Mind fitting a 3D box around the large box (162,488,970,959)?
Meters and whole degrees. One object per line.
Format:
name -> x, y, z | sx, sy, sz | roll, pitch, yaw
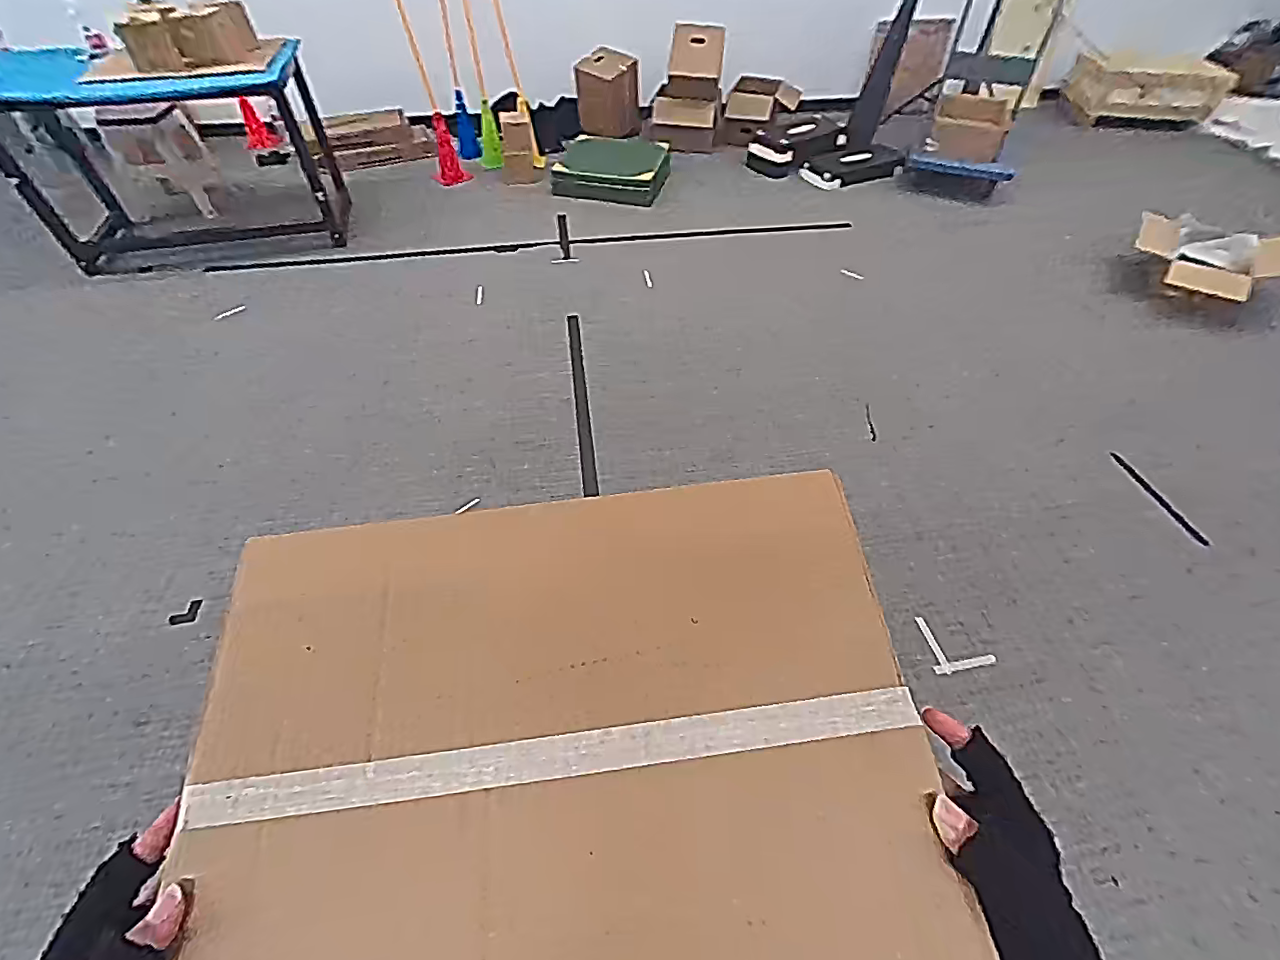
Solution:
large box -> -0.044, 0.232, 0.440 | 0.408, 0.320, 0.320 | -7, 61, -2
